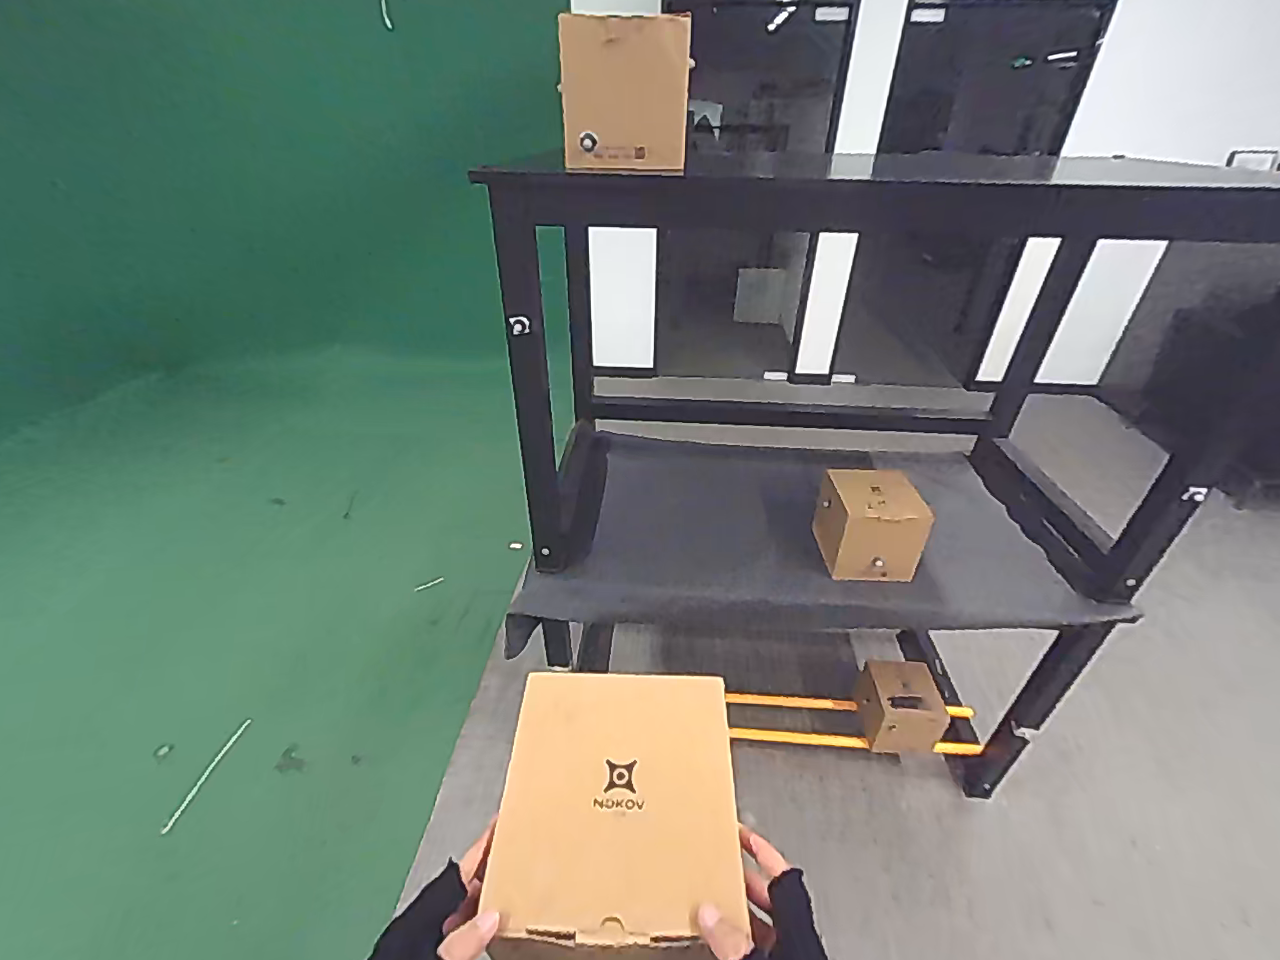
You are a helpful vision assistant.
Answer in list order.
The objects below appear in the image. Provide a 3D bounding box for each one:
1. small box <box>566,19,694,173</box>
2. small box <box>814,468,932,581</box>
[{"bbox_3d":[-0.013,-0.547,0.786,0.168,0.176,0.179,1,33,-1],"label":"small box"},{"bbox_3d":[0.484,0.092,1.157,0.168,0.176,0.179,1,33,1],"label":"small box"}]
